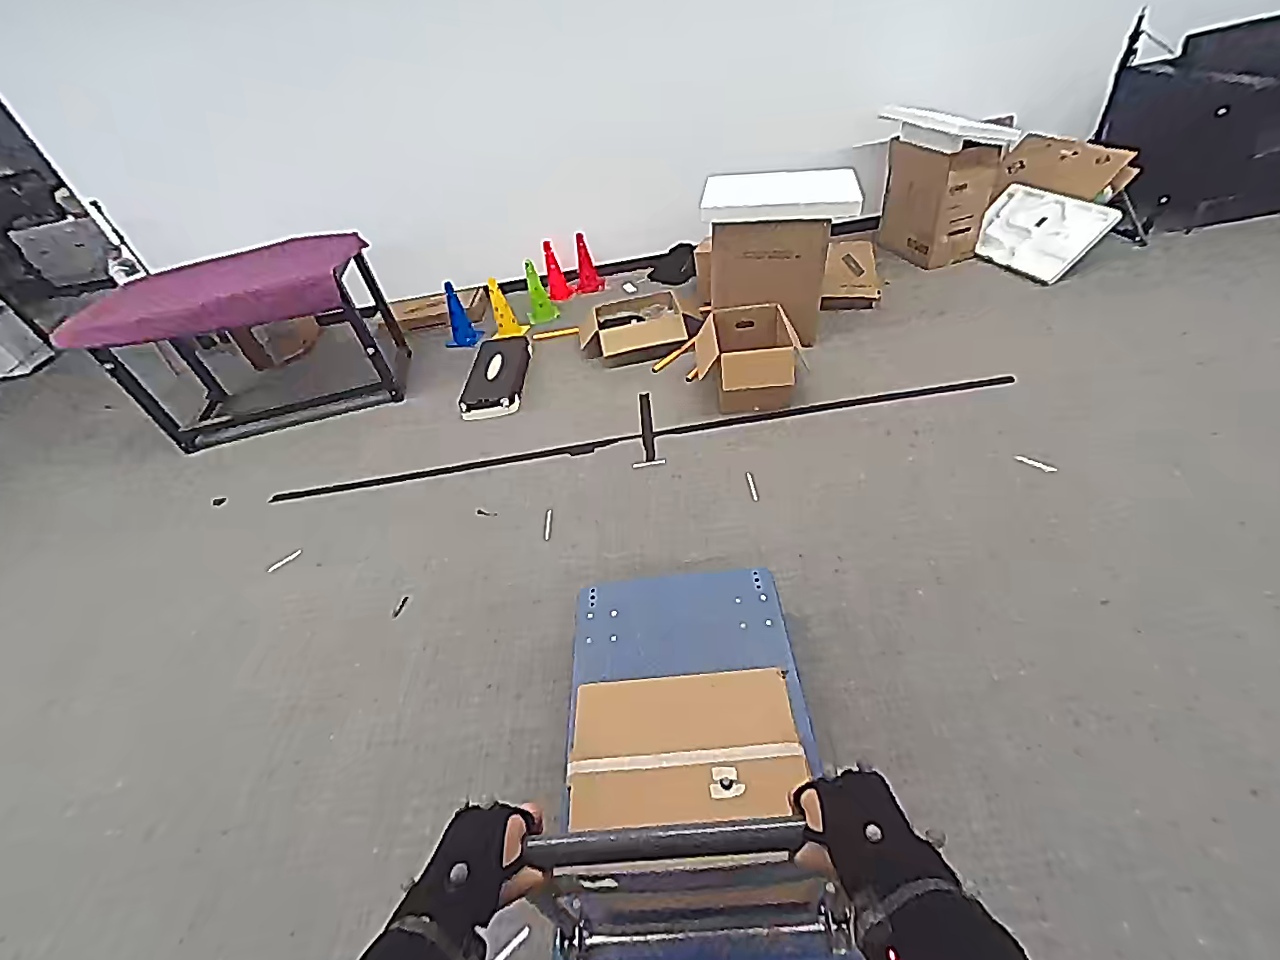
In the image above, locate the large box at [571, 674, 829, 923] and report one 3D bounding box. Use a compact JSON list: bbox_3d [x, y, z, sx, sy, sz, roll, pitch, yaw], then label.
[{"bbox_3d":[0.099,0.604,1.025,0.408,0.320,0.320,-6,42,3],"label":"large box"}]
